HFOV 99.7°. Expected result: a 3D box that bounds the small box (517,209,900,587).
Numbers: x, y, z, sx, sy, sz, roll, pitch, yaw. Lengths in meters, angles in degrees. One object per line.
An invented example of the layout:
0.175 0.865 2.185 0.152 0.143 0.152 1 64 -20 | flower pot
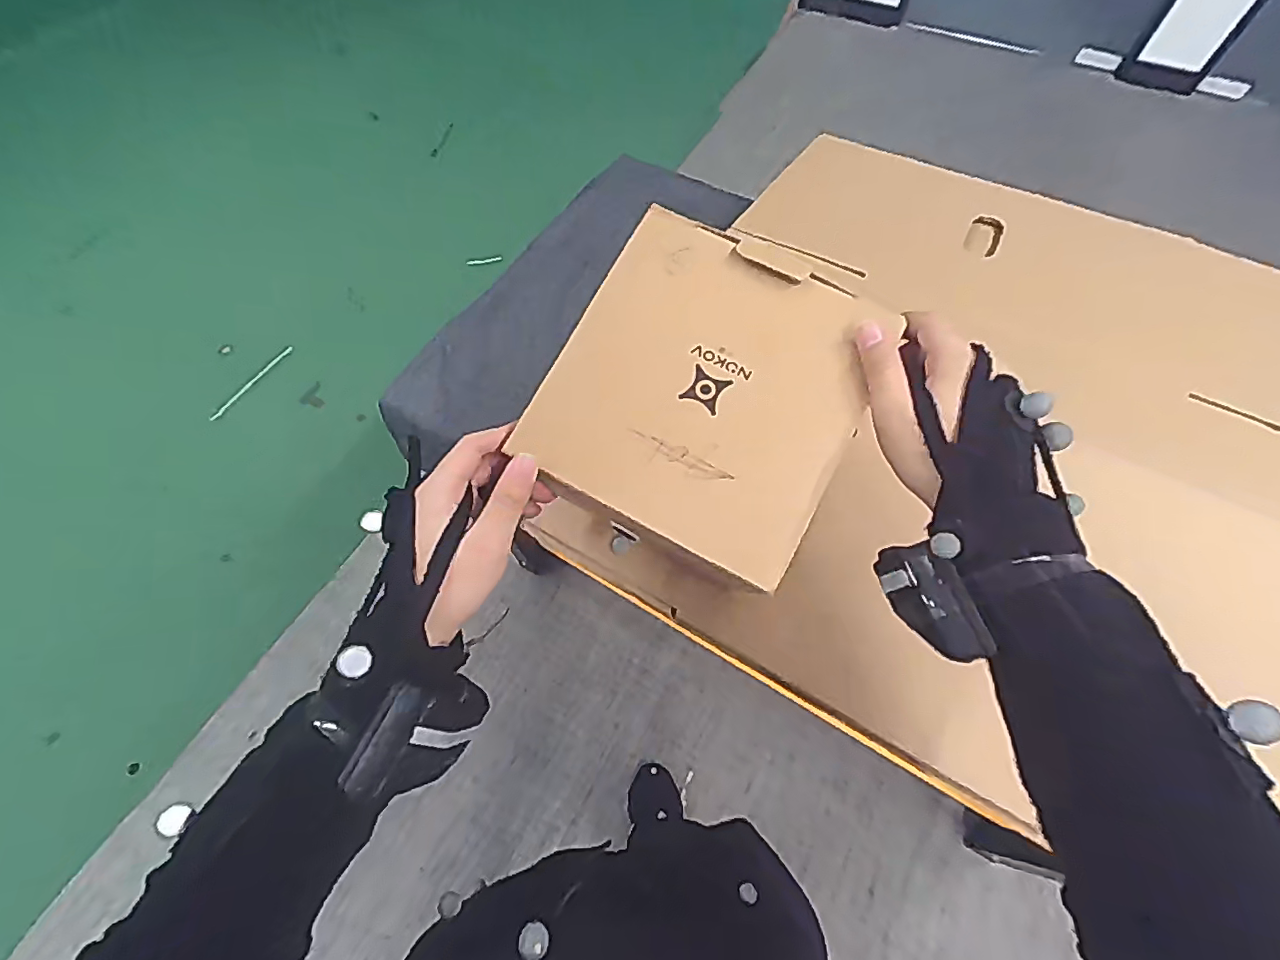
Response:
0.042 -0.039 0.385 0.168 0.176 0.179 28 81 8 | small box
